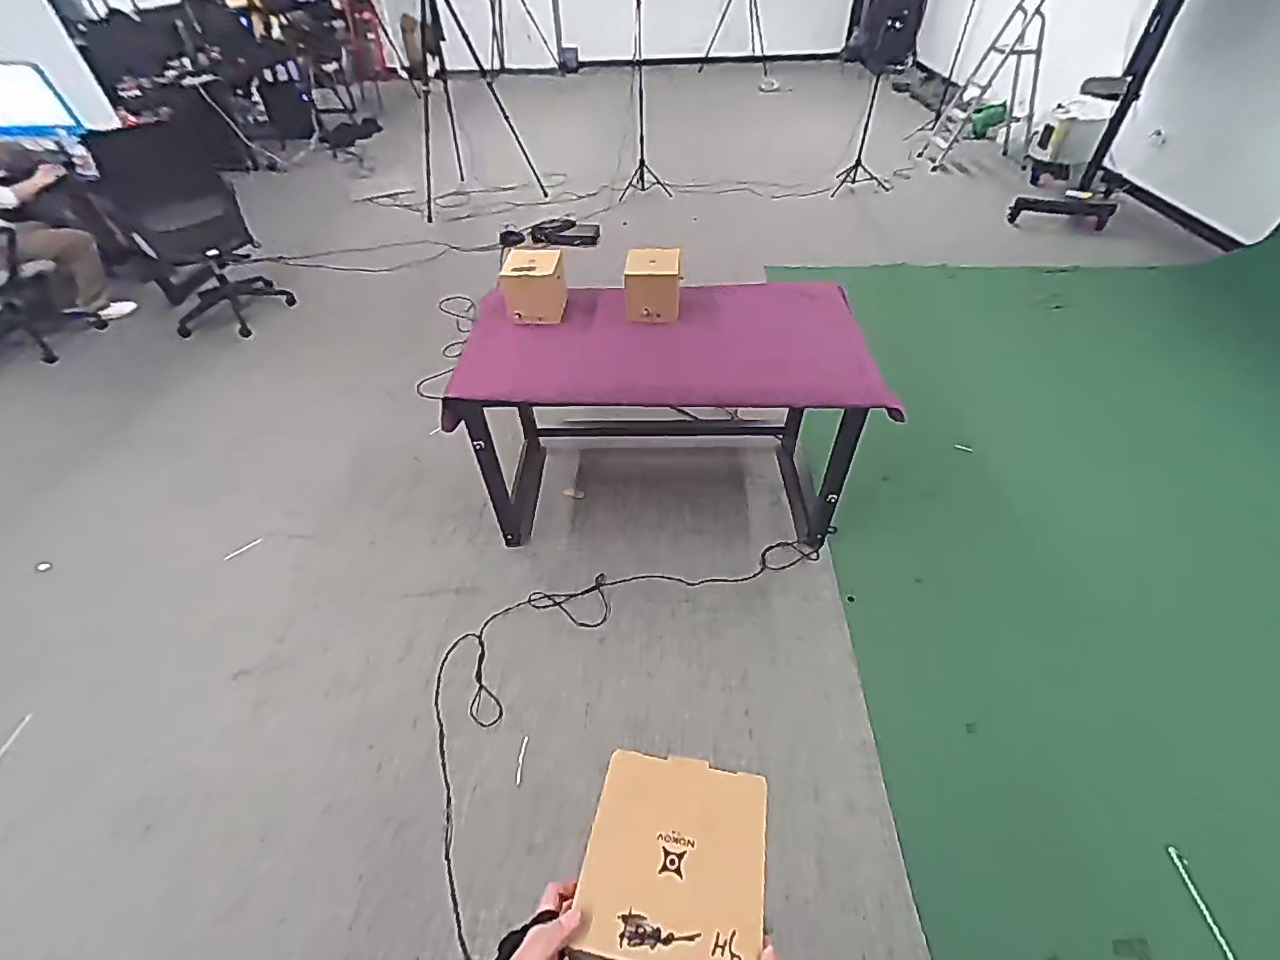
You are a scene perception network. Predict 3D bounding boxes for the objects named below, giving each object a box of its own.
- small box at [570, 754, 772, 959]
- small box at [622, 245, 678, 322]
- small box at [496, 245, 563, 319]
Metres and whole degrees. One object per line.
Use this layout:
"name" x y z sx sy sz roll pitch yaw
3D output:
"small box" 0.040 0.419 0.549 0.168 0.176 0.179 5 36 12
"small box" 0.033 -0.625 1.716 0.168 0.176 0.179 3 48 4
"small box" -0.344 -0.628 1.719 0.168 0.176 0.179 2 48 2
